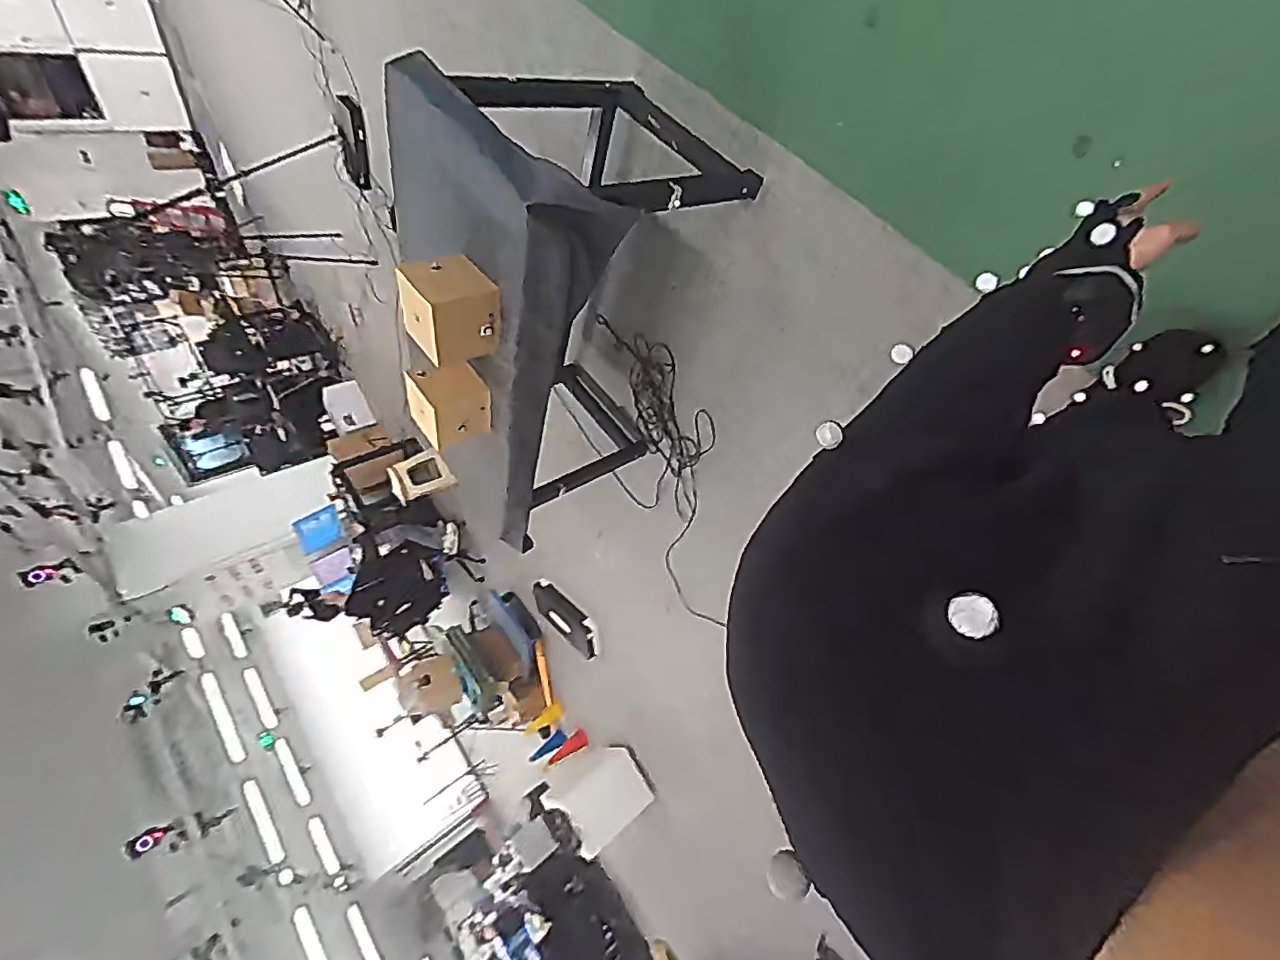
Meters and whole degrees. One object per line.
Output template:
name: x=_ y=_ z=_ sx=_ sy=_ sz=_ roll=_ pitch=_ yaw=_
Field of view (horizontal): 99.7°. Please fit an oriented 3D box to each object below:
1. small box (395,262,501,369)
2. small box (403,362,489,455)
small box: x=-0.441 y=-0.389 z=1.256 sx=0.179 sy=0.176 sz=0.168 roll=44 pitch=144 yaw=26
small box: x=-0.534 y=-0.206 z=1.509 sx=0.179 sy=0.176 sz=0.168 roll=46 pitch=143 yaw=25
